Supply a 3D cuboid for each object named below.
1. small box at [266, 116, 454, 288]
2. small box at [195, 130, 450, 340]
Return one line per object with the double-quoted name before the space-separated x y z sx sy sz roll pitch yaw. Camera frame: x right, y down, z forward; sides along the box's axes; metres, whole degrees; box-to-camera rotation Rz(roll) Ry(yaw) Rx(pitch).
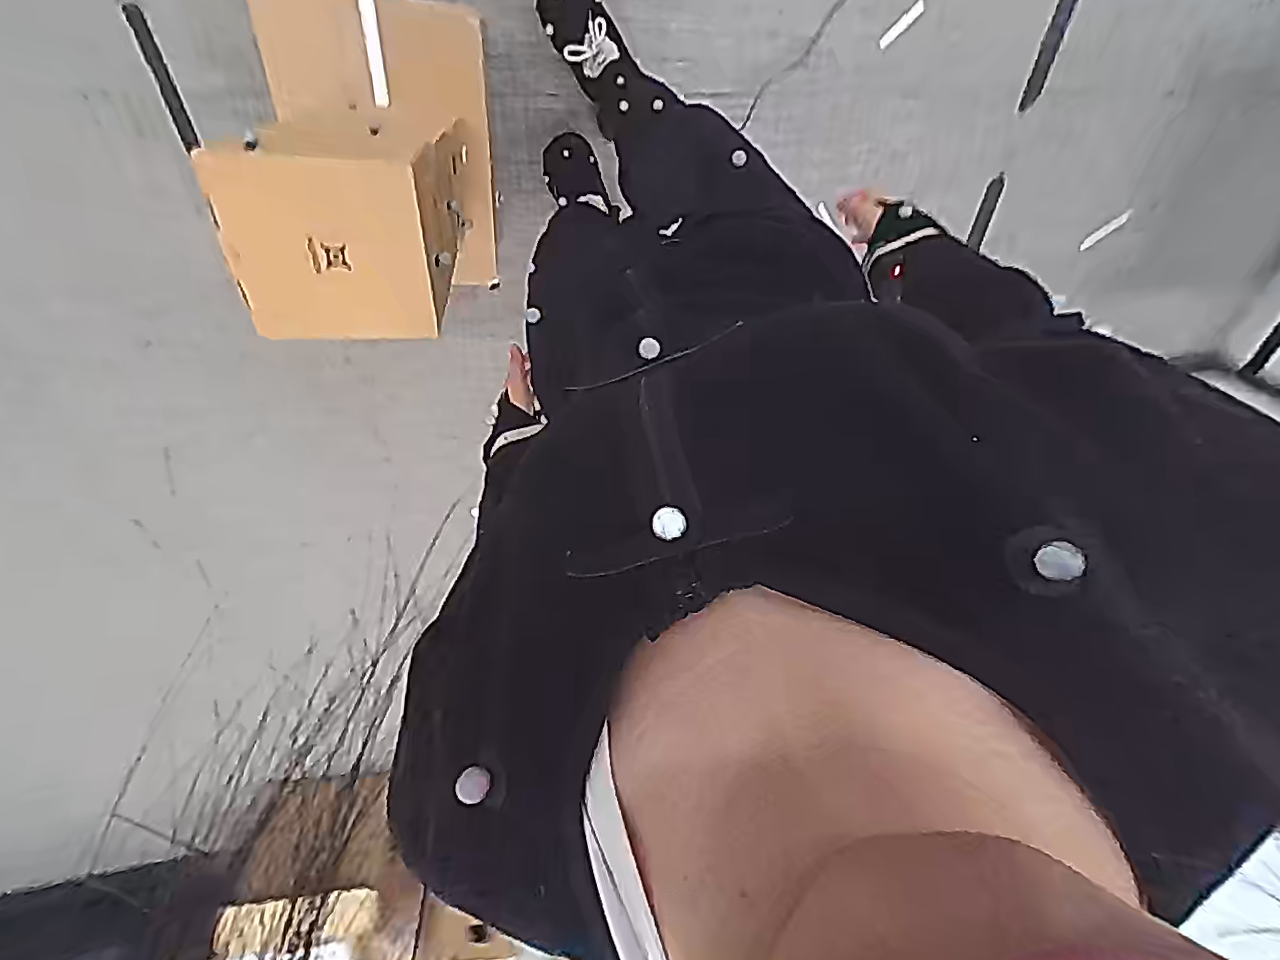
"small box" -0.337 -0.357 0.693 0.179 0.176 0.168 -3 128 -13
"small box" -0.302 -0.259 0.567 0.179 0.176 0.168 -4 129 -10
